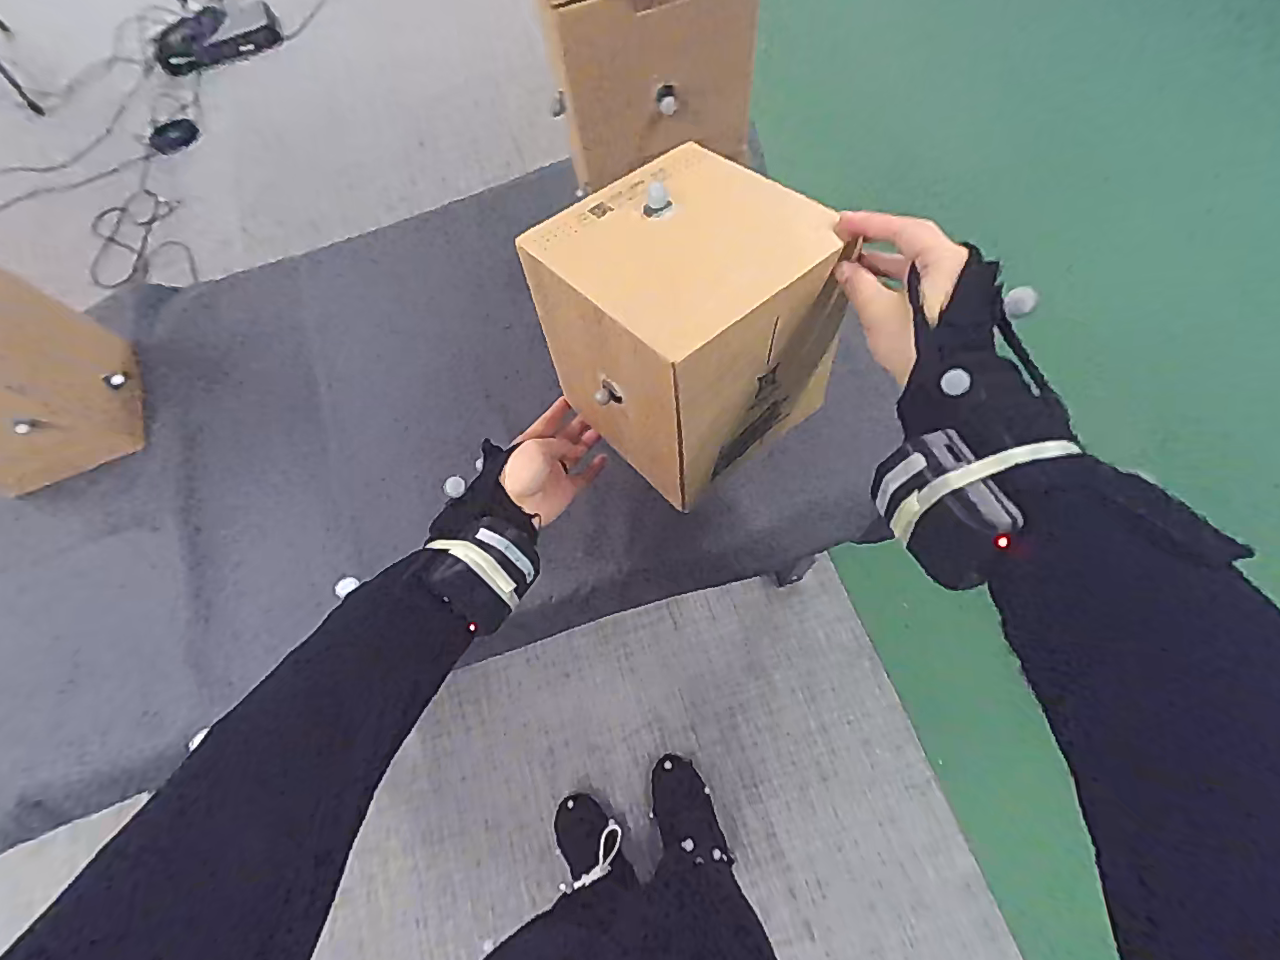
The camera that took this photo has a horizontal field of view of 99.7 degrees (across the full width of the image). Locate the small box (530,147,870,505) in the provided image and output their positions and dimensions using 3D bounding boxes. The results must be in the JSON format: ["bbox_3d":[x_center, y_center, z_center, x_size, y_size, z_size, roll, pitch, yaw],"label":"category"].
[{"bbox_3d":[0.040,-0.119,0.427,0.168,0.179,0.176,-37,61,-16],"label":"small box"}]

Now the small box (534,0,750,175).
[{"bbox_3d":[-0.003,-0.417,0.498,0.168,0.176,0.179,-17,71,0],"label":"small box"}]

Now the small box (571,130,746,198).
[{"bbox_3d":[0.015,-0.367,0.653,0.168,0.176,0.179,-18,70,0],"label":"small box"}]
